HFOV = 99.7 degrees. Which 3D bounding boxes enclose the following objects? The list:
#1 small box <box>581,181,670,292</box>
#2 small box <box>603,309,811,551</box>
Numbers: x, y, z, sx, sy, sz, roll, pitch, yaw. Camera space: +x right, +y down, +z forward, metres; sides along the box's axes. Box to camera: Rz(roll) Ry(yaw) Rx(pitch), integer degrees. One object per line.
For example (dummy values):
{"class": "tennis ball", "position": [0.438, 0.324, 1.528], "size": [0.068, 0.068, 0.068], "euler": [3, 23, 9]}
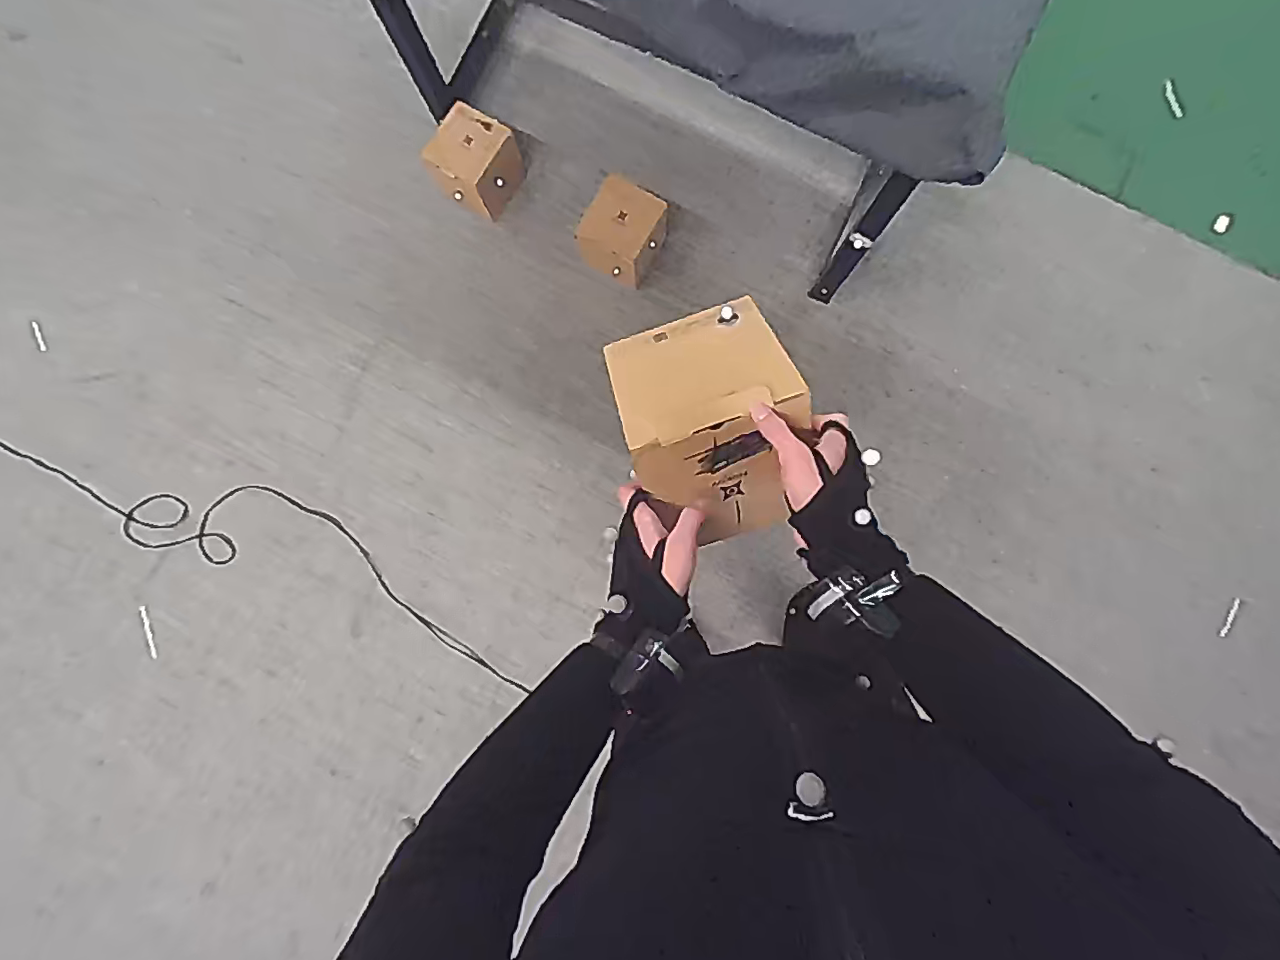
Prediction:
{"class": "small box", "position": [-0.033, -0.626, 1.416], "size": [0.168, 0.176, 0.179], "euler": [29, 85, 3]}
{"class": "small box", "position": [0.068, -0.058, 0.576], "size": [0.168, 0.179, 0.176], "euler": [-18, 47, 6]}
